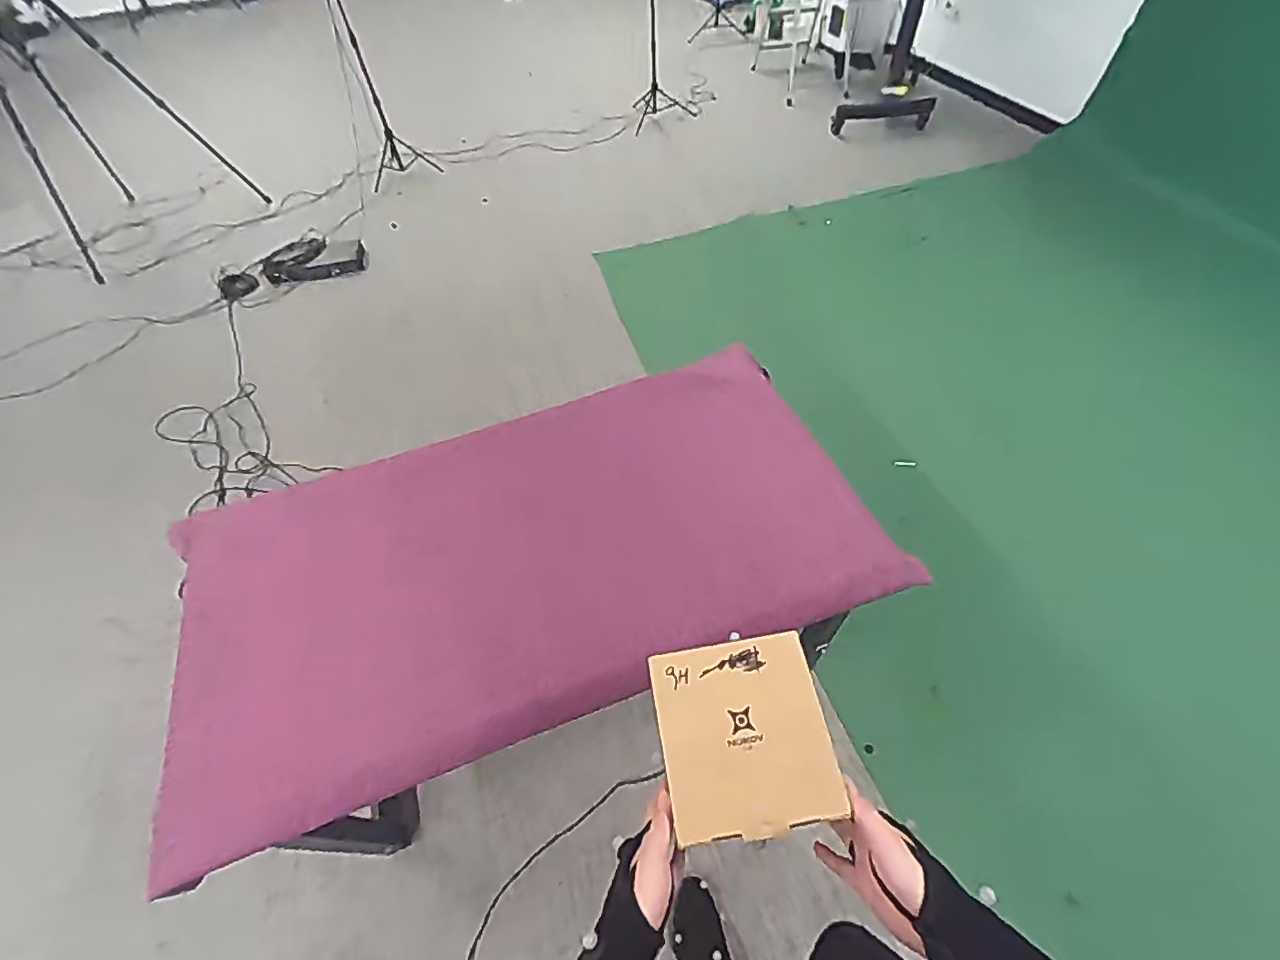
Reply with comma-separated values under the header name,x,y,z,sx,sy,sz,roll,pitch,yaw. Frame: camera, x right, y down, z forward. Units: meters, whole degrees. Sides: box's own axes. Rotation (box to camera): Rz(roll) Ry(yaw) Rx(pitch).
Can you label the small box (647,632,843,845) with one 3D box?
name,x,y,z,sx,sy,sz,roll,pitch,yaw
small box,0.105,0.289,0.609,0.168,0.176,0.179,-9,59,-1
